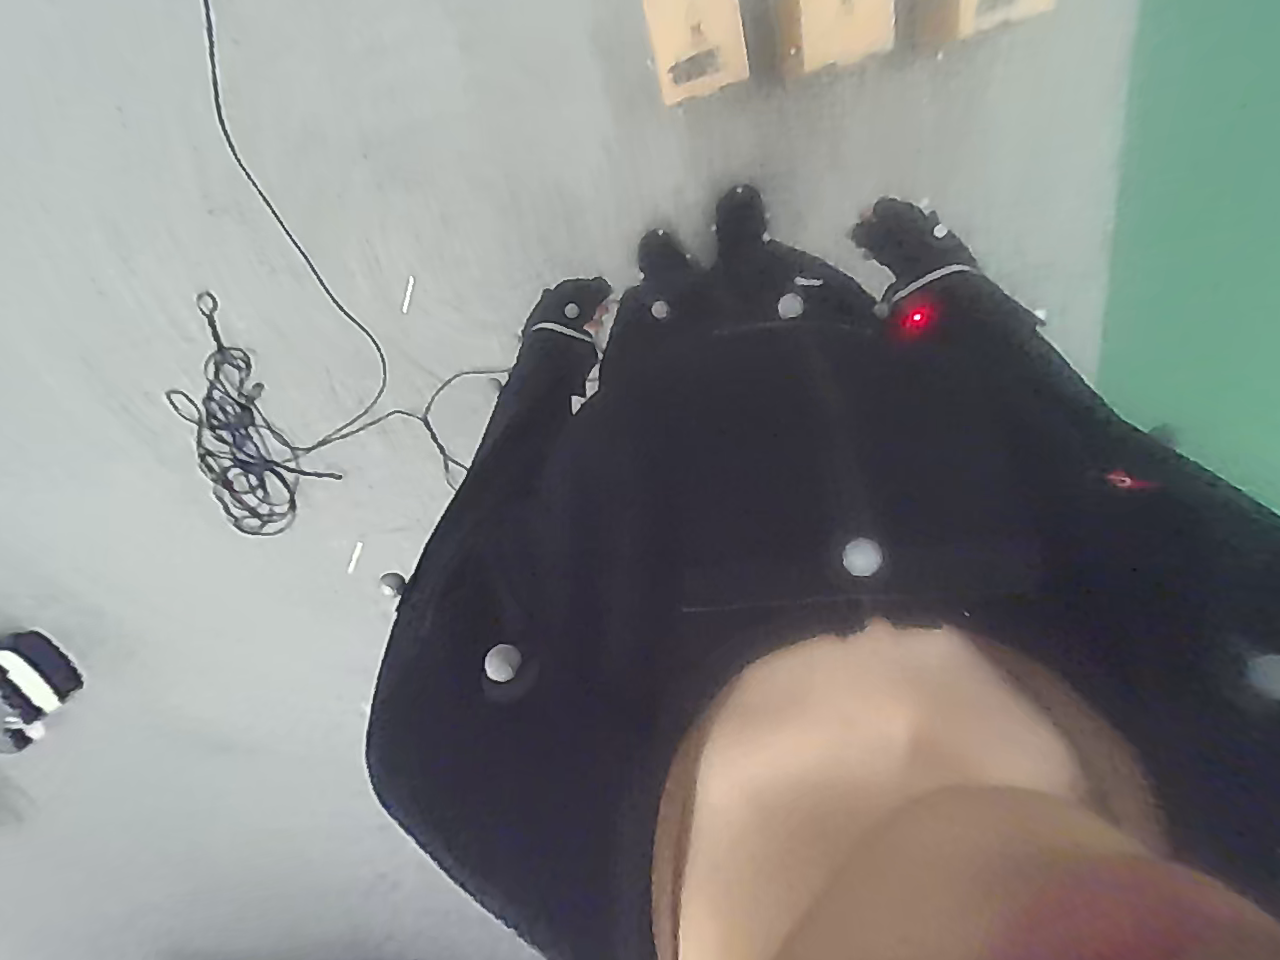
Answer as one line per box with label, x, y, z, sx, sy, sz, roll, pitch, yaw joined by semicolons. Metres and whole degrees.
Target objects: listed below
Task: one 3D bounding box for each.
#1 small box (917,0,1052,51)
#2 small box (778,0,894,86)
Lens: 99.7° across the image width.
small box;0.629;-0.924;0.995;0.168;0.176;0.179;-11;116;7
small box;0.364;-0.882;1.023;0.168;0.176;0.179;-11;117;7
